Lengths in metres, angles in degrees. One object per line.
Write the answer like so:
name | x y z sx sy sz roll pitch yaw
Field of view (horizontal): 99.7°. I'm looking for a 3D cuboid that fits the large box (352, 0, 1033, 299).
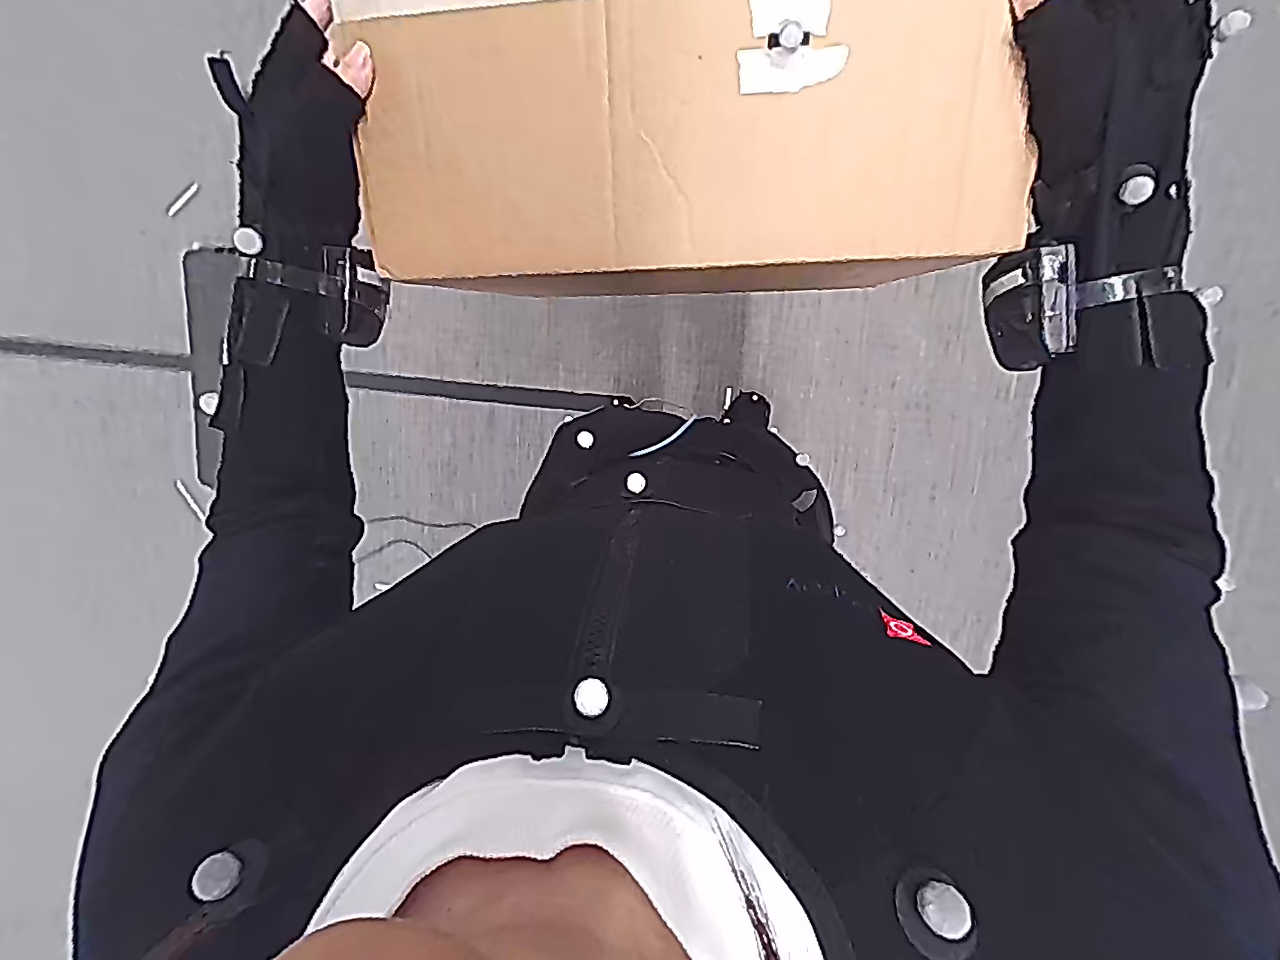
large box | 0.033 -0.333 0.453 0.408 0.320 0.320 -1 107 8
